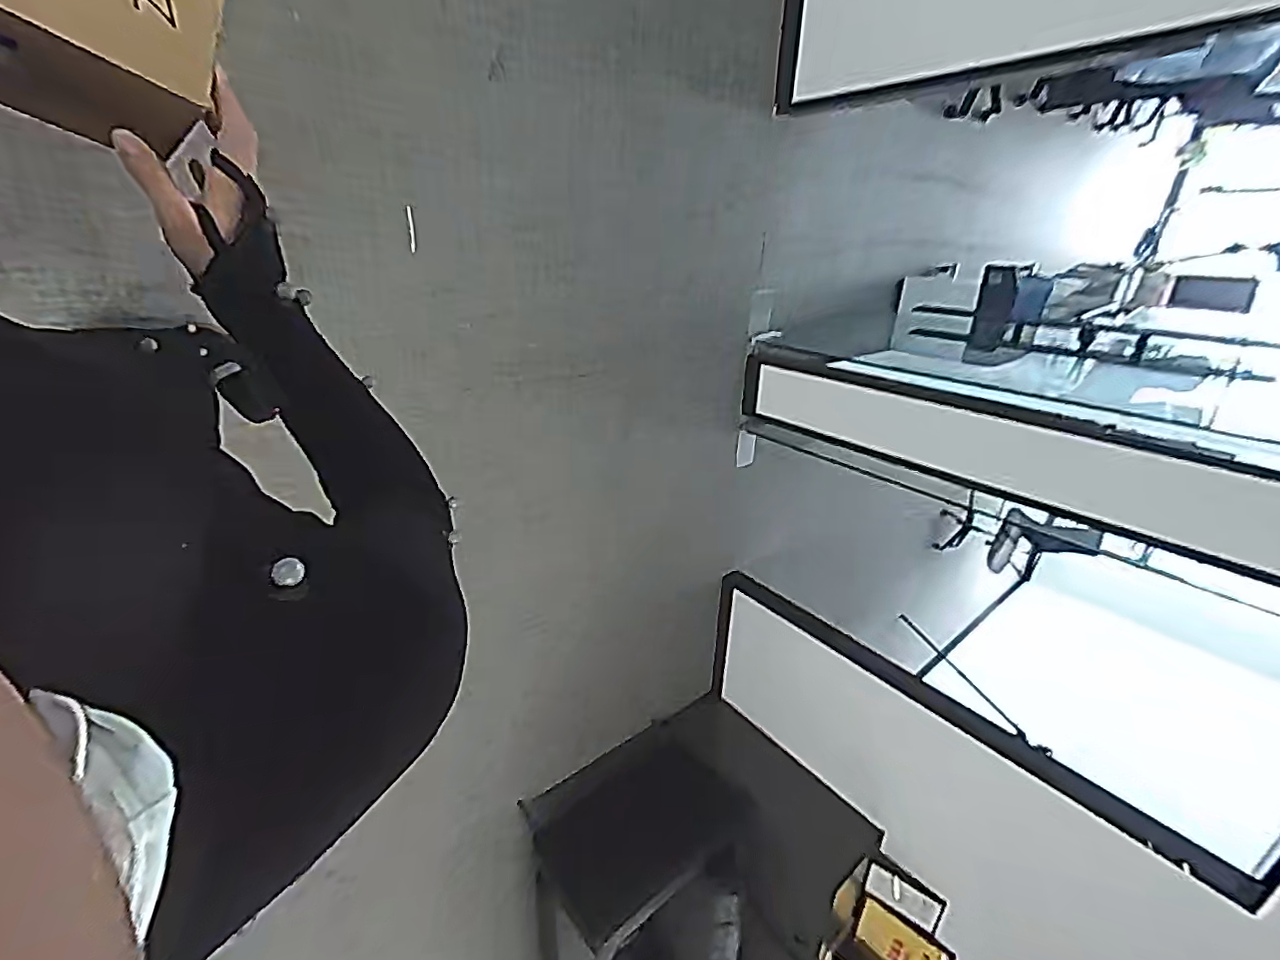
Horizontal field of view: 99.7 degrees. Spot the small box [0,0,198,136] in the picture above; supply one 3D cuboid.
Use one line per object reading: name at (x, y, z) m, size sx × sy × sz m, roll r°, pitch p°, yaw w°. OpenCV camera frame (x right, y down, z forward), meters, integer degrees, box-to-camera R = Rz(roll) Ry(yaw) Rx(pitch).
small box at (-0.431, -0.379, 0.373) m, size 0.179 × 0.176 × 0.168 m, roll 6°, pitch 91°, yaw -51°
